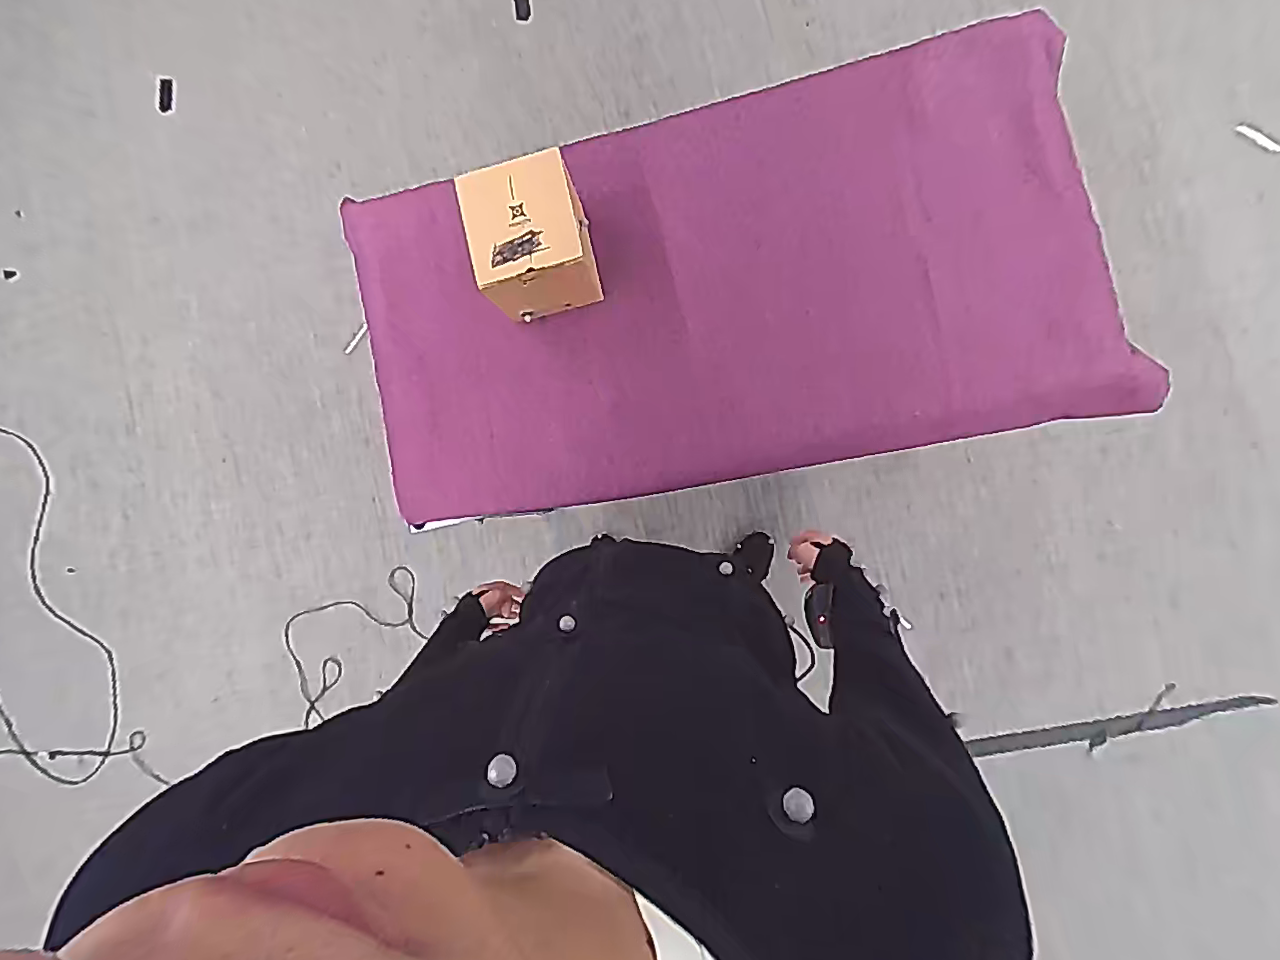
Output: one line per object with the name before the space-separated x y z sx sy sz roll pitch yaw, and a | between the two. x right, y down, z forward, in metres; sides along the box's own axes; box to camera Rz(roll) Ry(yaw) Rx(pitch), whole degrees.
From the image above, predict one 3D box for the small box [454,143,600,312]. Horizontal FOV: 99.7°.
small box | -0.170 -0.387 0.869 0.168 0.176 0.179 -14 87 5
